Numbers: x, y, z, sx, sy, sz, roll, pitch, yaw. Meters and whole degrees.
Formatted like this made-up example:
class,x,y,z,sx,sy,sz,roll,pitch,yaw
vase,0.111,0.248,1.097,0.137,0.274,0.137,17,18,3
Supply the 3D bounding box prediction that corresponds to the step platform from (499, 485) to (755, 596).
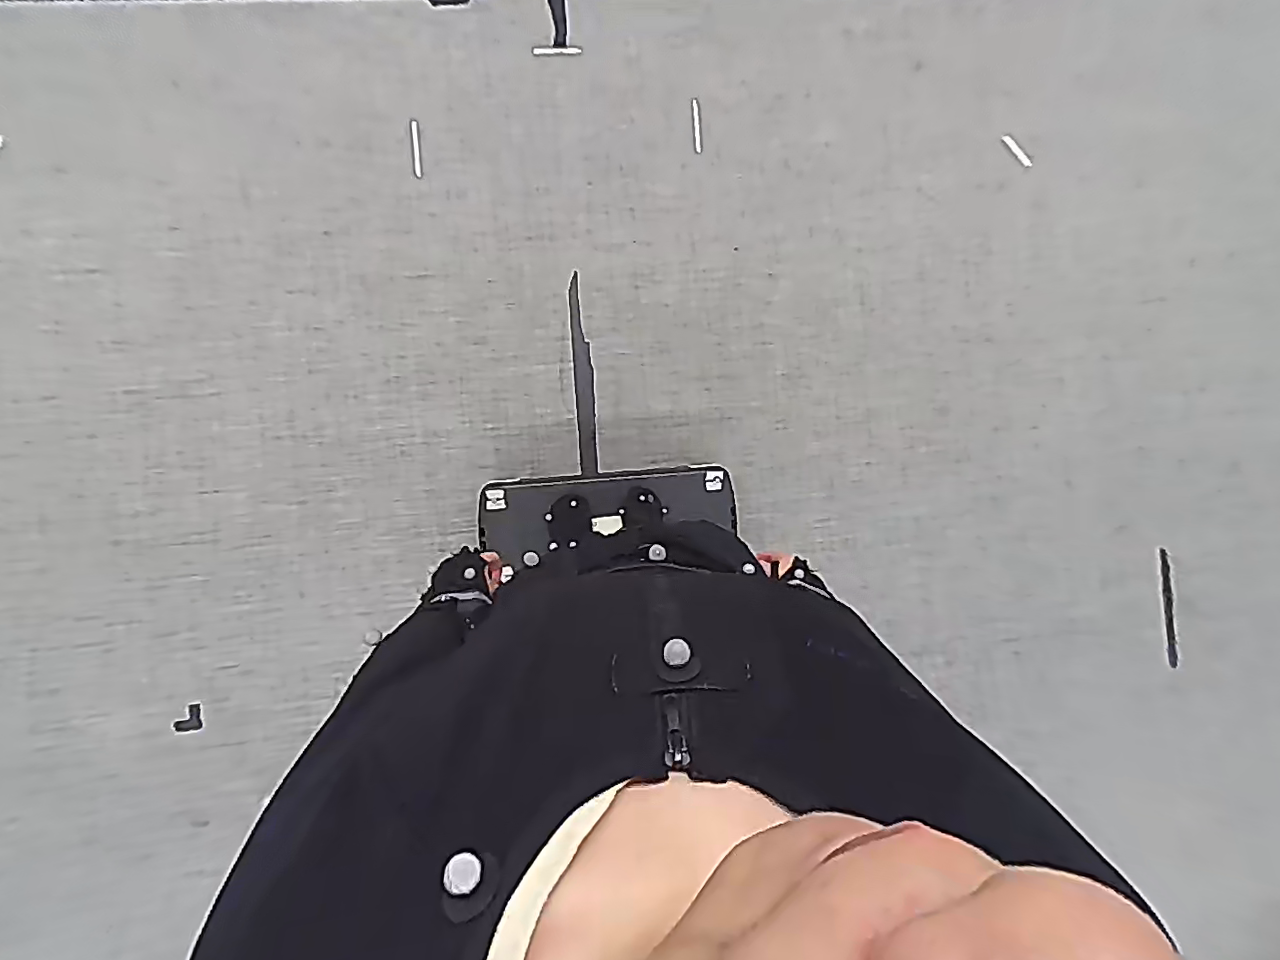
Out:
class,x,y,z,sx,sy,sz,roll,pitch,yaw
step platform,-0.034,0.158,1.476,0.684,0.204,0.286,0,89,-6
